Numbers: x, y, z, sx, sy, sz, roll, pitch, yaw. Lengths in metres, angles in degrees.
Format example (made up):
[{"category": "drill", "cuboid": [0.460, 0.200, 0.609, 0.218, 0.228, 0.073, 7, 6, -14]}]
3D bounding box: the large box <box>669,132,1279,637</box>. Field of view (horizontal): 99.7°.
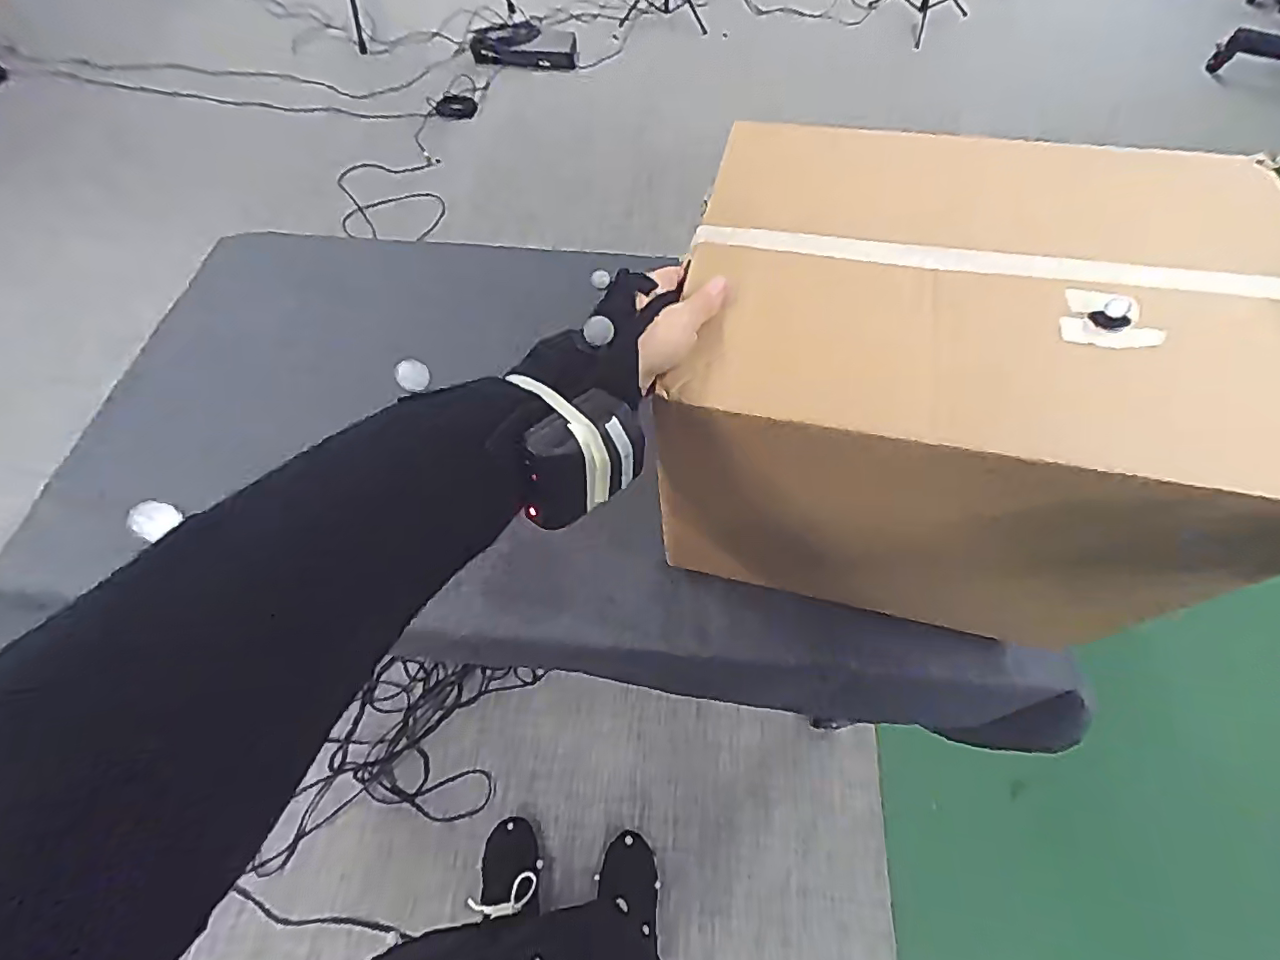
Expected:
[{"category": "large box", "cuboid": [0.249, -0.075, 0.511, 0.408, 0.320, 0.320, 11, 63, 9]}]
